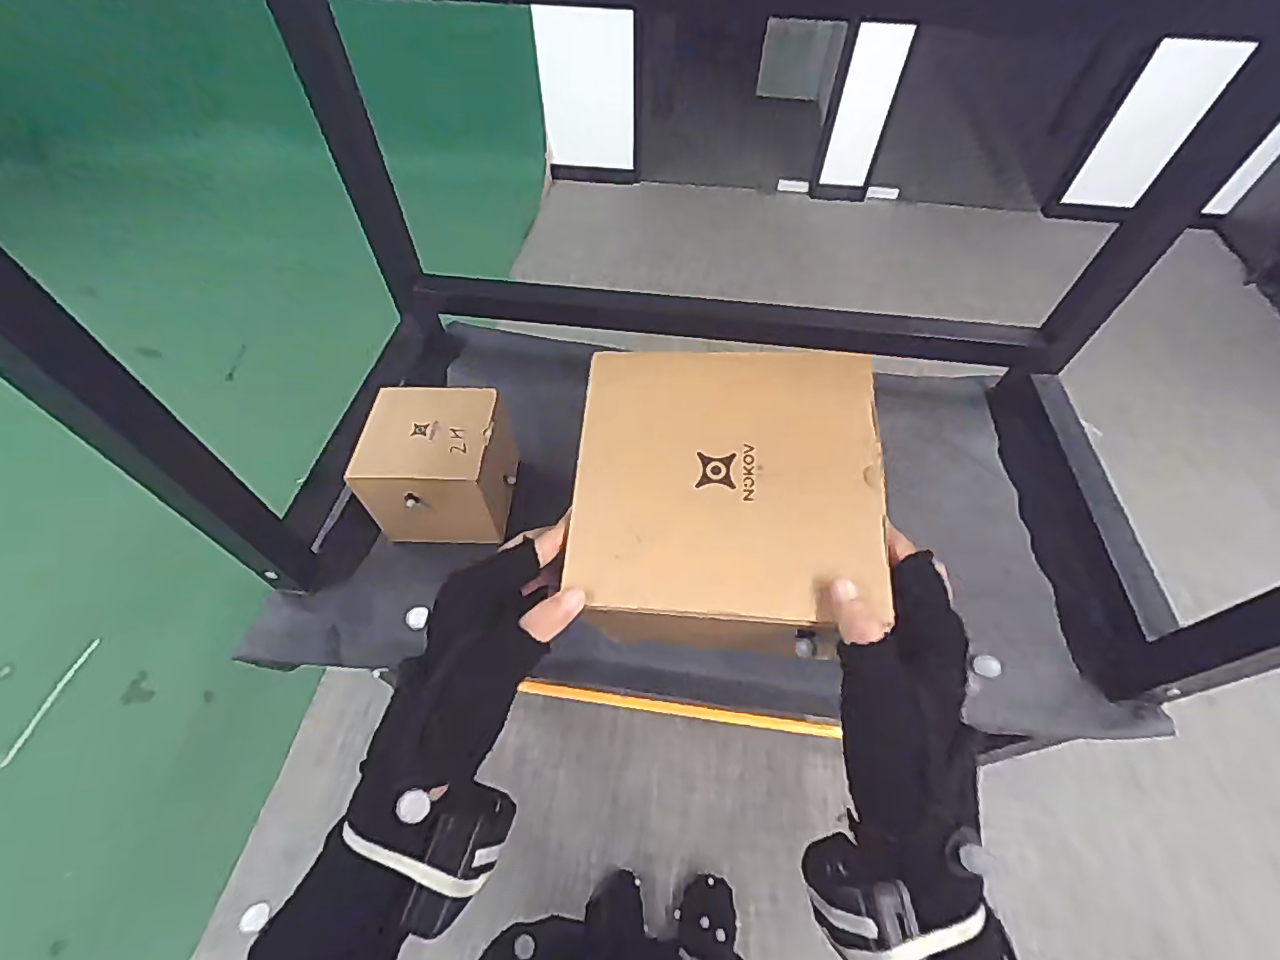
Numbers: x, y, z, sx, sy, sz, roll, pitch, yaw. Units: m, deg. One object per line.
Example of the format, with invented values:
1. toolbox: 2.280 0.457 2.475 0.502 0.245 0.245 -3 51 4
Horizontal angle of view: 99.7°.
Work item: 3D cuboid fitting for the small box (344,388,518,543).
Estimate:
1. small box: -0.293 -0.018 0.802 0.179 0.176 0.168 2 55 0
